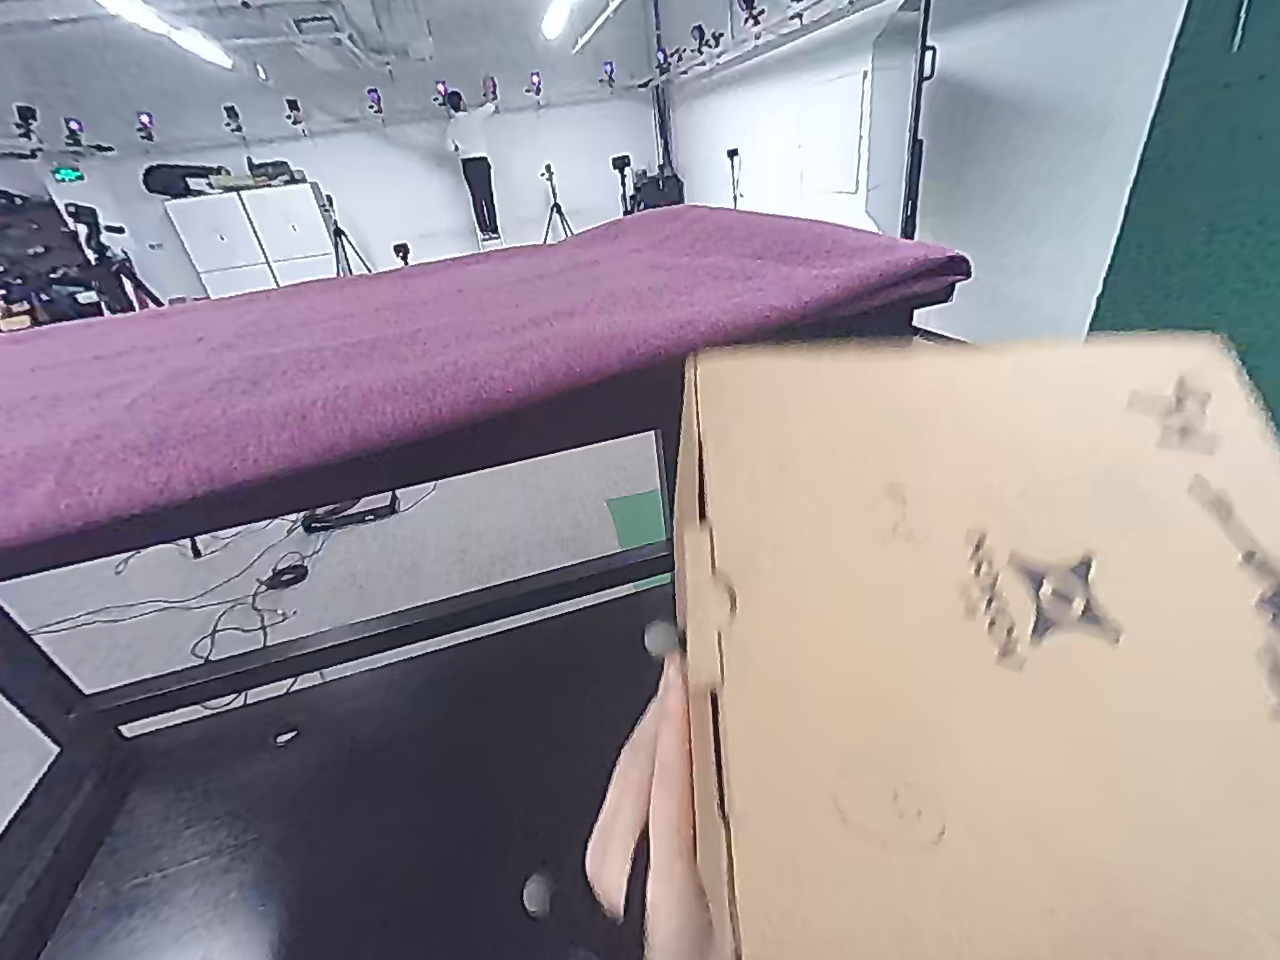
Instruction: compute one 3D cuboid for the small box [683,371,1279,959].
[{"bbox_3d":[0.107,0.071,0.227,0.179,0.176,0.168,-1,68,2],"label":"small box"}]
